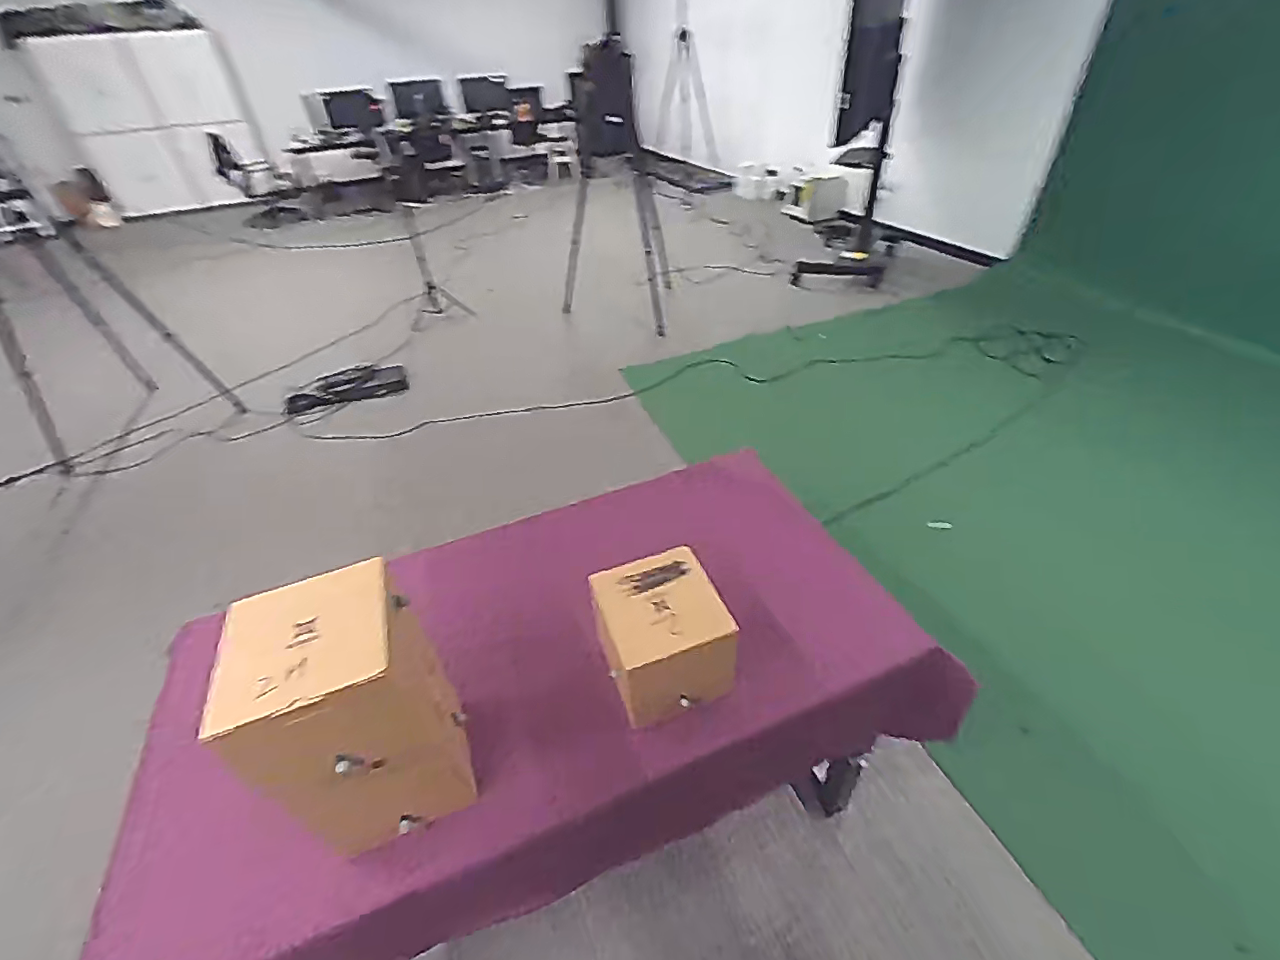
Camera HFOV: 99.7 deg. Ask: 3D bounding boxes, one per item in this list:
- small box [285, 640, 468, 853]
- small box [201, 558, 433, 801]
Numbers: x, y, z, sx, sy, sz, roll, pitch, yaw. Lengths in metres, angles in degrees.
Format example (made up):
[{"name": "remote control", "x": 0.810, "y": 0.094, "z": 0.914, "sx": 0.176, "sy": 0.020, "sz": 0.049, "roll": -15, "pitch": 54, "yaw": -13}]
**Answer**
[{"name": "small box", "x": -0.343, "y": 0.356, "z": 0.730, "sx": 0.179, "sy": 0.176, "sz": 0.168, "roll": -18, "pitch": 41, "yaw": -17}, {"name": "small box", "x": -0.354, "y": 0.227, "z": 0.627, "sx": 0.168, "sy": 0.176, "sz": 0.179, "roll": -18, "pitch": 42, "yaw": -15}]
